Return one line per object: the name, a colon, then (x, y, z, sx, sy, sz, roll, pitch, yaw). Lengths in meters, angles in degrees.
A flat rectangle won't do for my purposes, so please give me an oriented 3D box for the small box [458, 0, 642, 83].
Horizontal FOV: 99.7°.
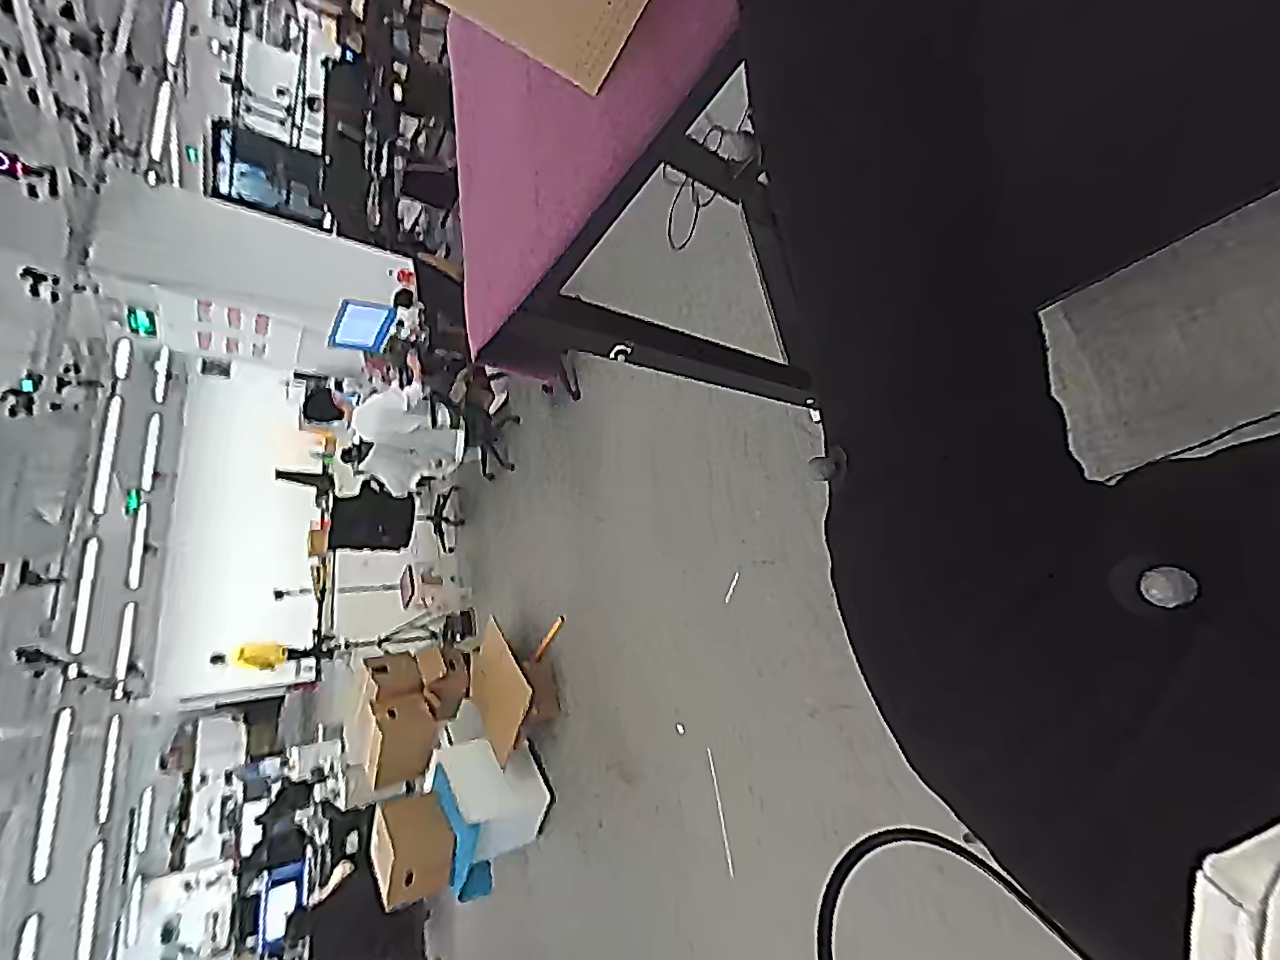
small box: (-0.068, -0.452, 0.397, 0.179, 0.176, 0.168, -36, 58, 45)
